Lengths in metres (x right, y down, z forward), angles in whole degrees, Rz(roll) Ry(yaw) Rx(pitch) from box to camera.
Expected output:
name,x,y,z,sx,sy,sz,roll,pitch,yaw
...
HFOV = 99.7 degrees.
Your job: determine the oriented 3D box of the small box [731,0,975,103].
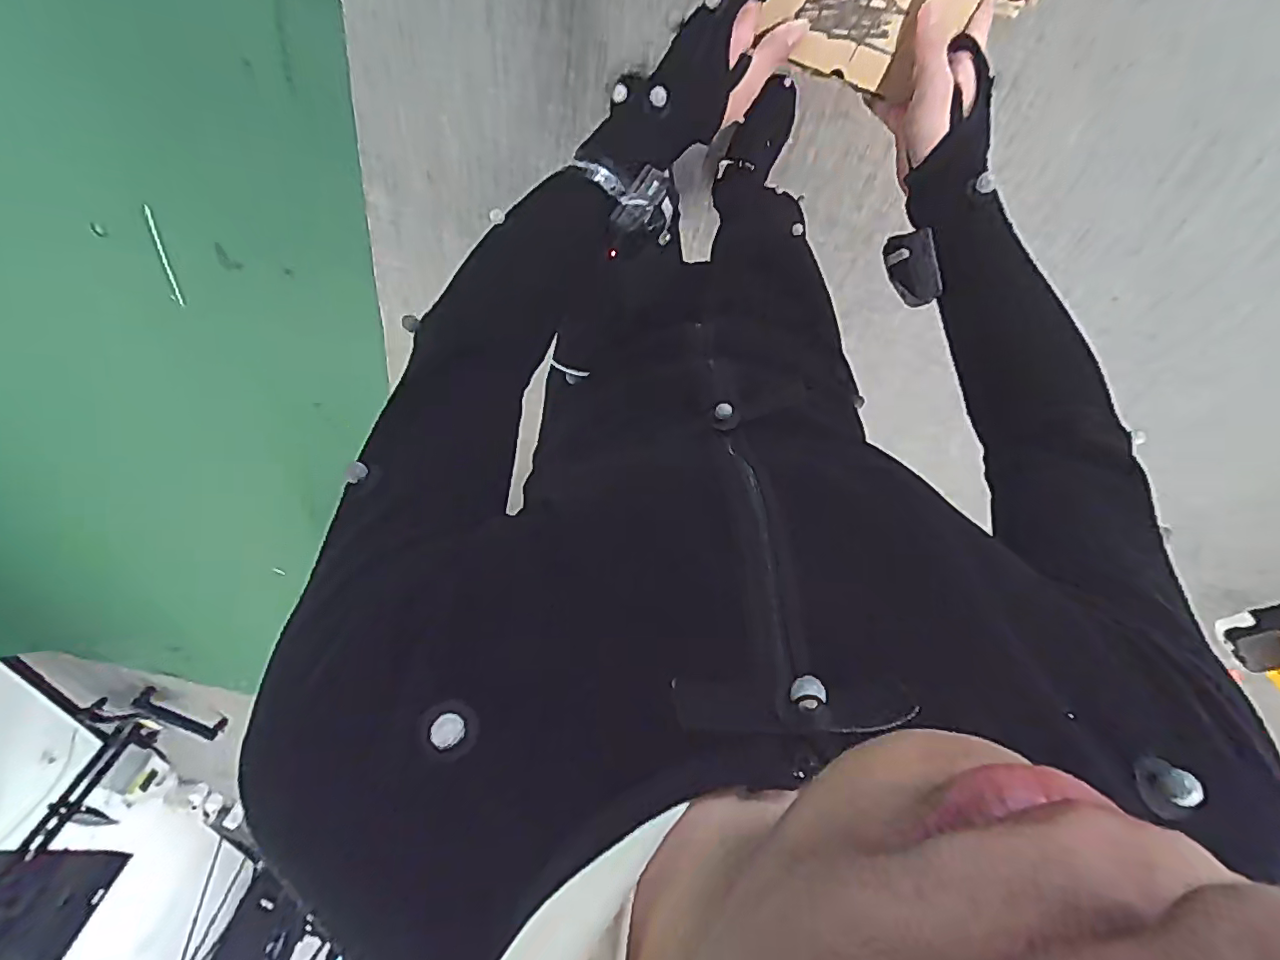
name,x,y,z,sx,sy,sz,roll,pitch,yaw
small box,0.185,-0.457,0.446,0.168,0.176,0.179,10,135,-14
